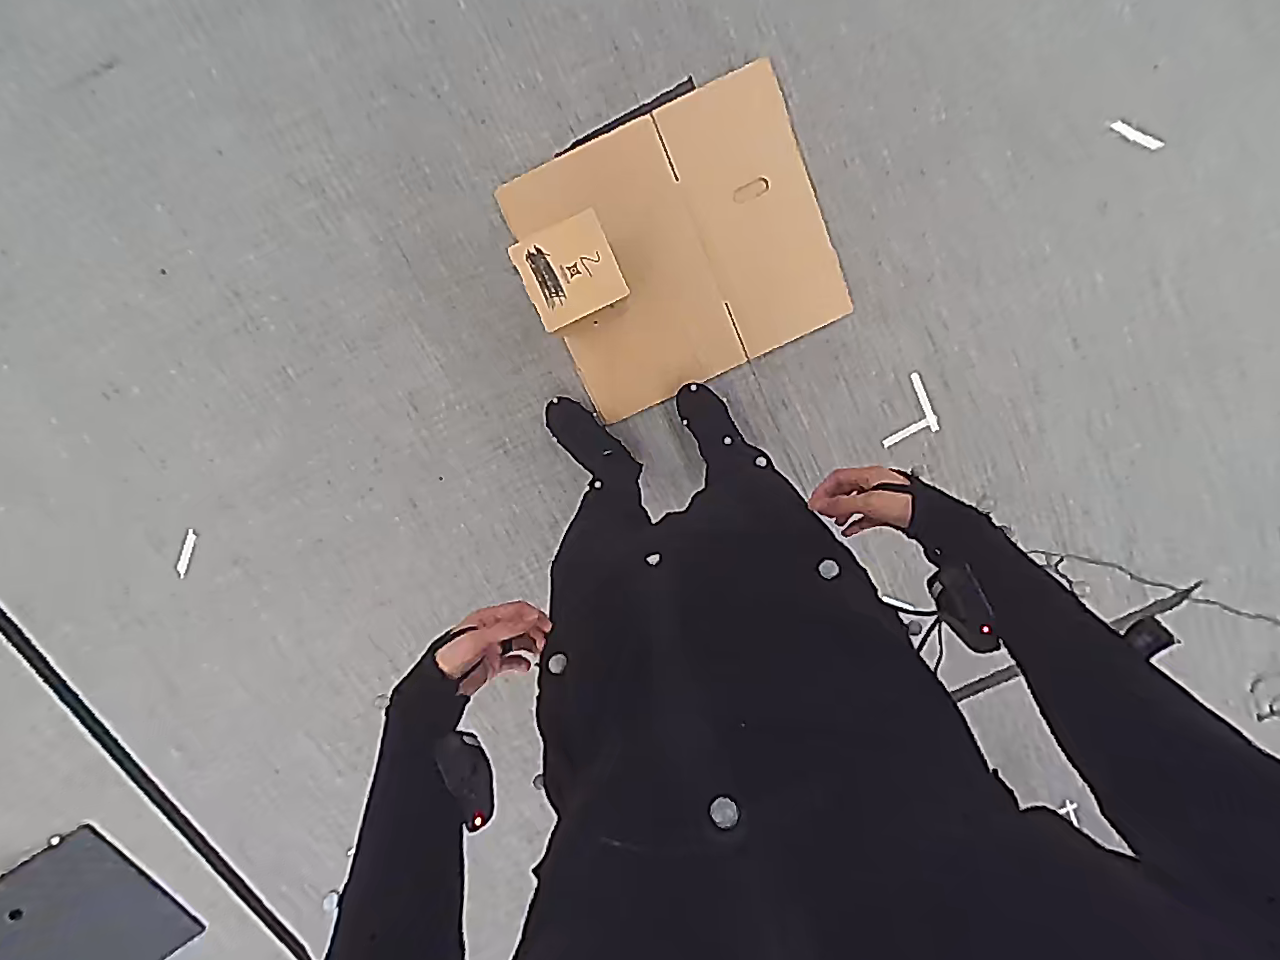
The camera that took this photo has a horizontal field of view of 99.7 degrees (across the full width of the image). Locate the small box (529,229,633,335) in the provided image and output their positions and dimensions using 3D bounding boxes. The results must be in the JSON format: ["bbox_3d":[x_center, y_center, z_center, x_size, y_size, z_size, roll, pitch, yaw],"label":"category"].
[{"bbox_3d":[-0.131,-0.443,1.230,0.179,0.176,0.168,-25,104,3],"label":"small box"}]
